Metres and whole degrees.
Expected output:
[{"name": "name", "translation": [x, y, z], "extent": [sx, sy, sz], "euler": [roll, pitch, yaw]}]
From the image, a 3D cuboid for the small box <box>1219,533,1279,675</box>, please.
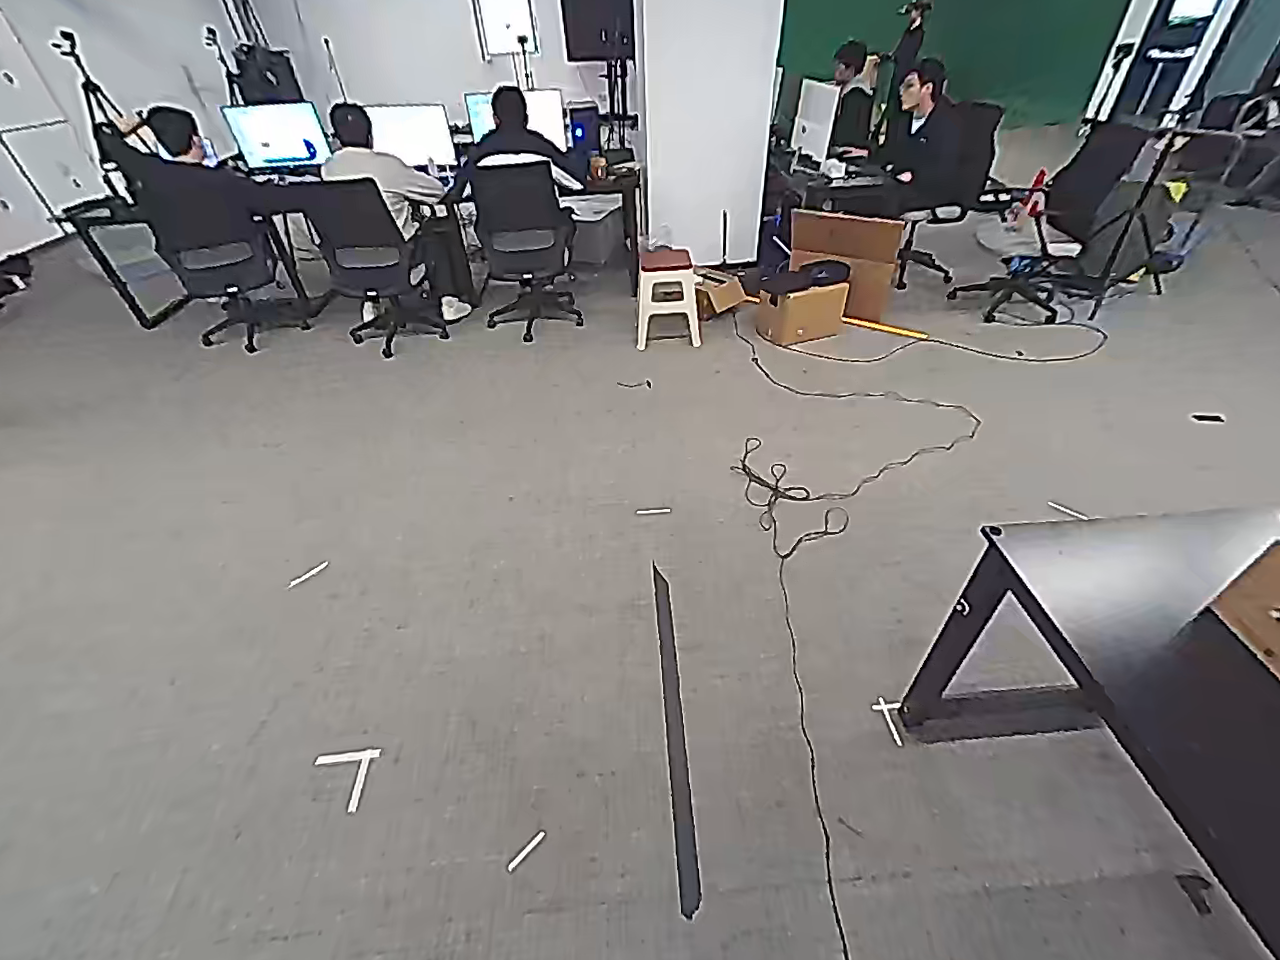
[{"name": "small box", "translation": [1.034, 0.192, 0.799], "extent": [0.179, 0.176, 0.168], "euler": [-2, 41, 1]}]
